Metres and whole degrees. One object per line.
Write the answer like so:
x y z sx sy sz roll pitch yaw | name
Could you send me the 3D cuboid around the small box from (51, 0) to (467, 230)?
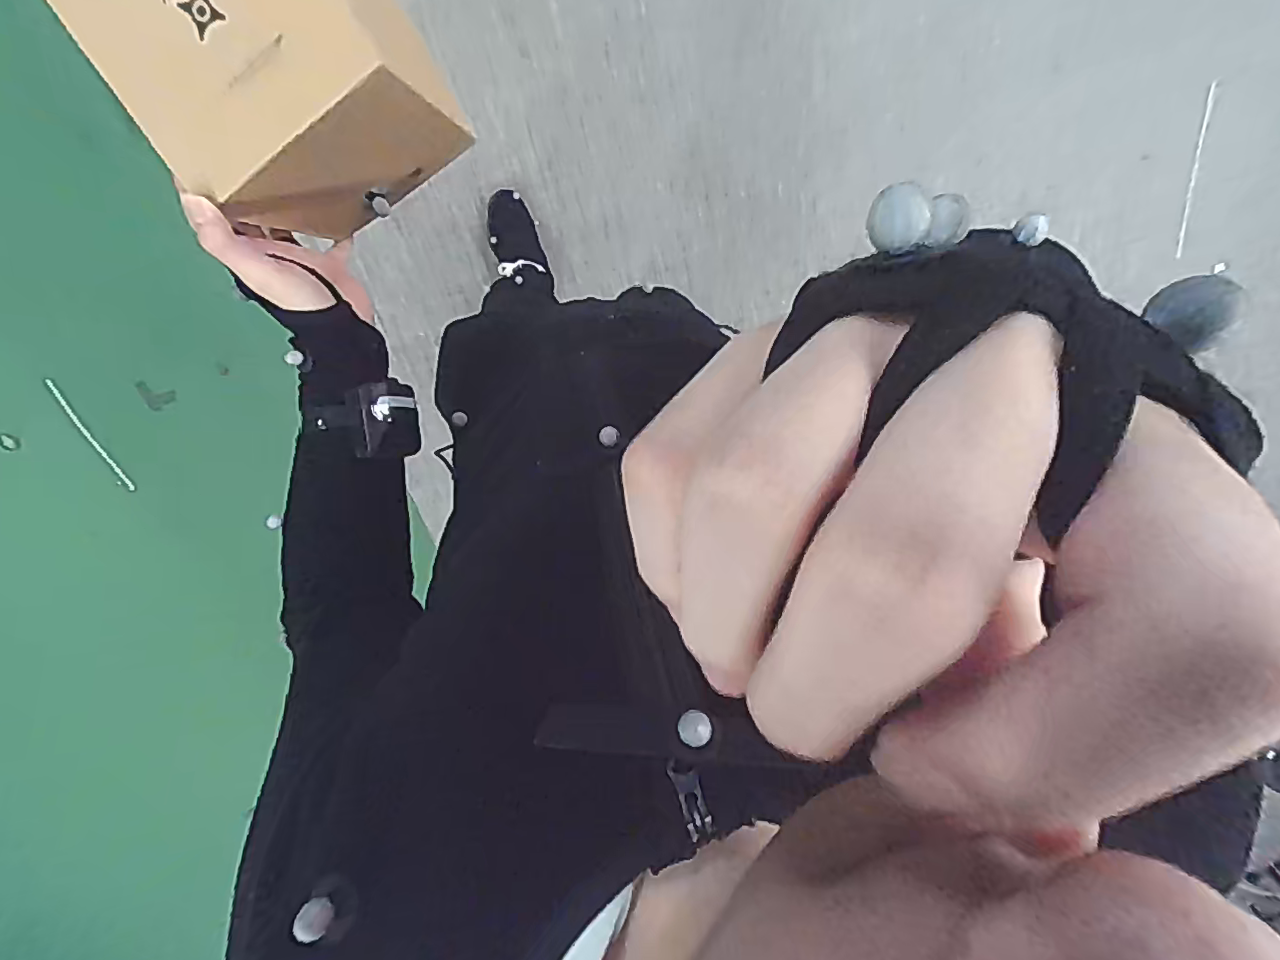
-0.268 -0.319 0.409 0.168 0.176 0.179 -28 103 13 | small box
